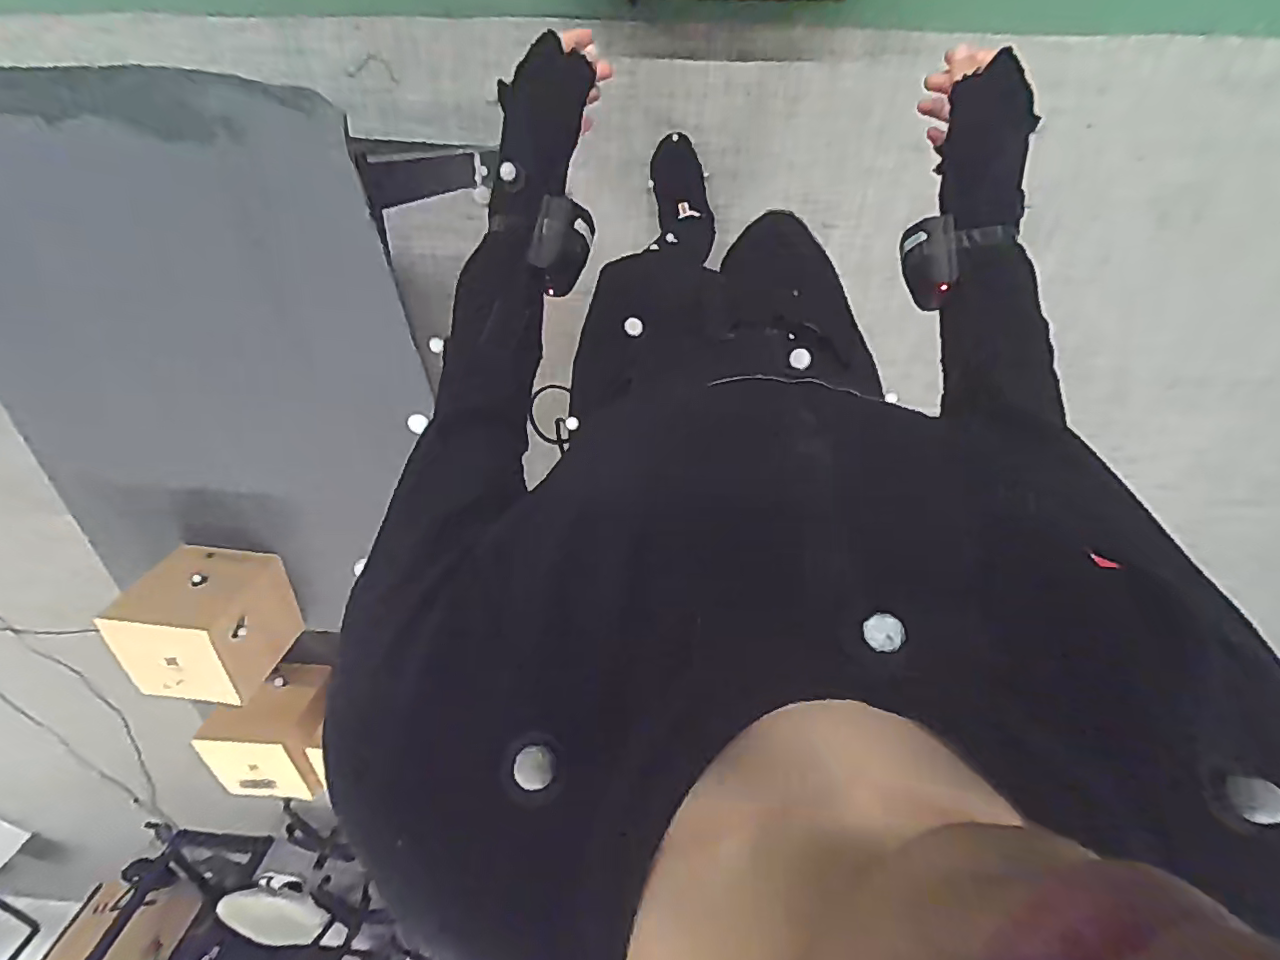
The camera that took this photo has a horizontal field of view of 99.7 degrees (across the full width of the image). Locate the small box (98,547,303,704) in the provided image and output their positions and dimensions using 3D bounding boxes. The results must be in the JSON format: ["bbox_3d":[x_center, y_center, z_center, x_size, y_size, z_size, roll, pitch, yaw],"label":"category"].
[{"bbox_3d":[-0.688,0.229,0.874,0.168,0.176,0.179,7,123,1],"label":"small box"}]
